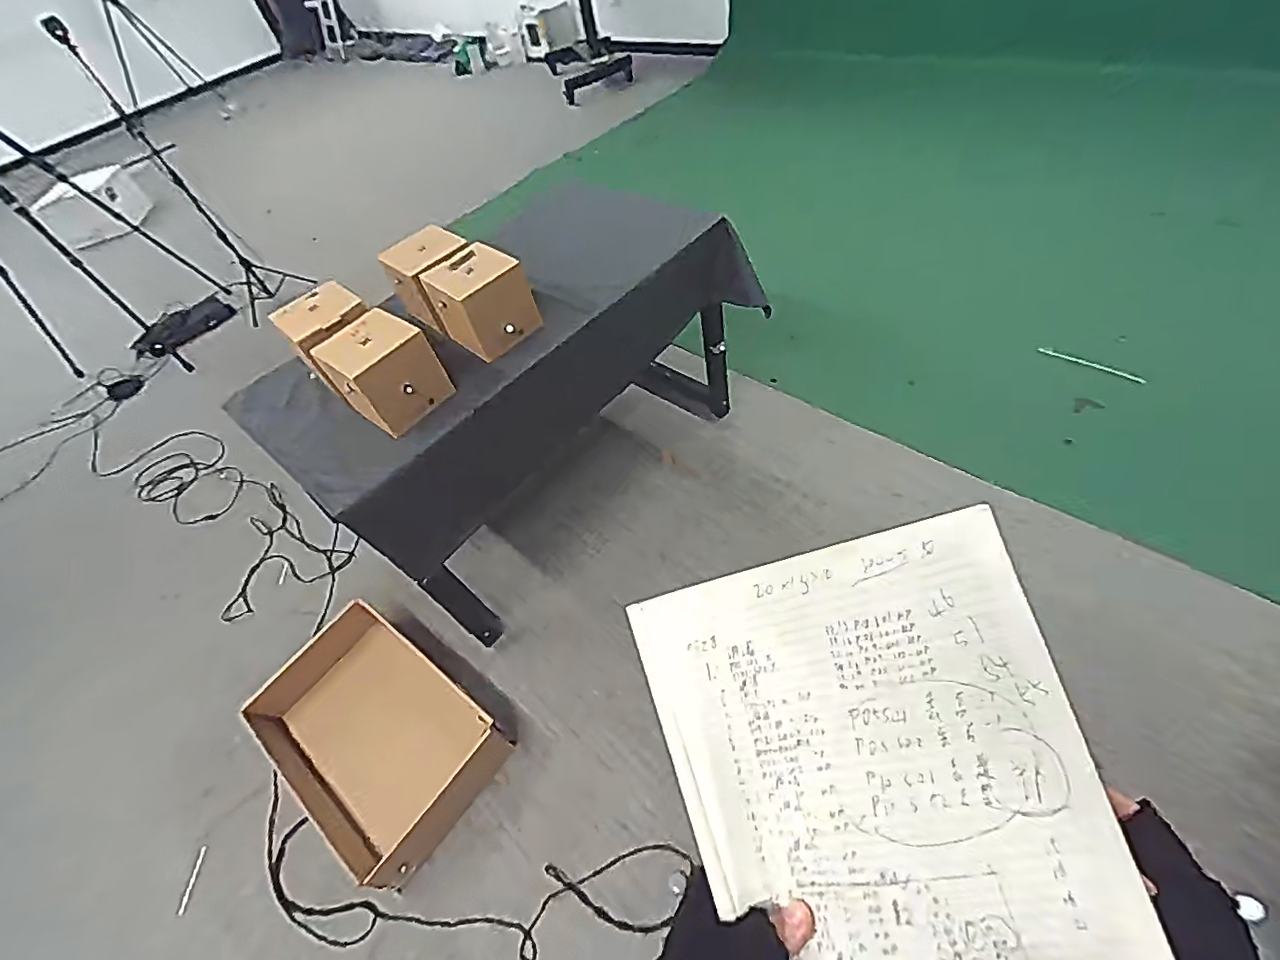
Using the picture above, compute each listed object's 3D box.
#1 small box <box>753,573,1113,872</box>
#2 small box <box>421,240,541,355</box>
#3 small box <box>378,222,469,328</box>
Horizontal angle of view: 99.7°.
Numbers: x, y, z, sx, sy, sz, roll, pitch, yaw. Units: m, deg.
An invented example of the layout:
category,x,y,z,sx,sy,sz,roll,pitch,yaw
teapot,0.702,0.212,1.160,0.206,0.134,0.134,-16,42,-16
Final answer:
category,x,y,z,sx,sy,sz,roll,pitch,yaw
small box,0.192,0.185,0.419,0.179,0.176,0.168,-12,61,10
small box,-0.358,-0.415,1.238,0.168,0.176,0.179,-42,56,-19
small box,-0.505,-0.507,1.347,0.168,0.176,0.179,-42,56,-19
